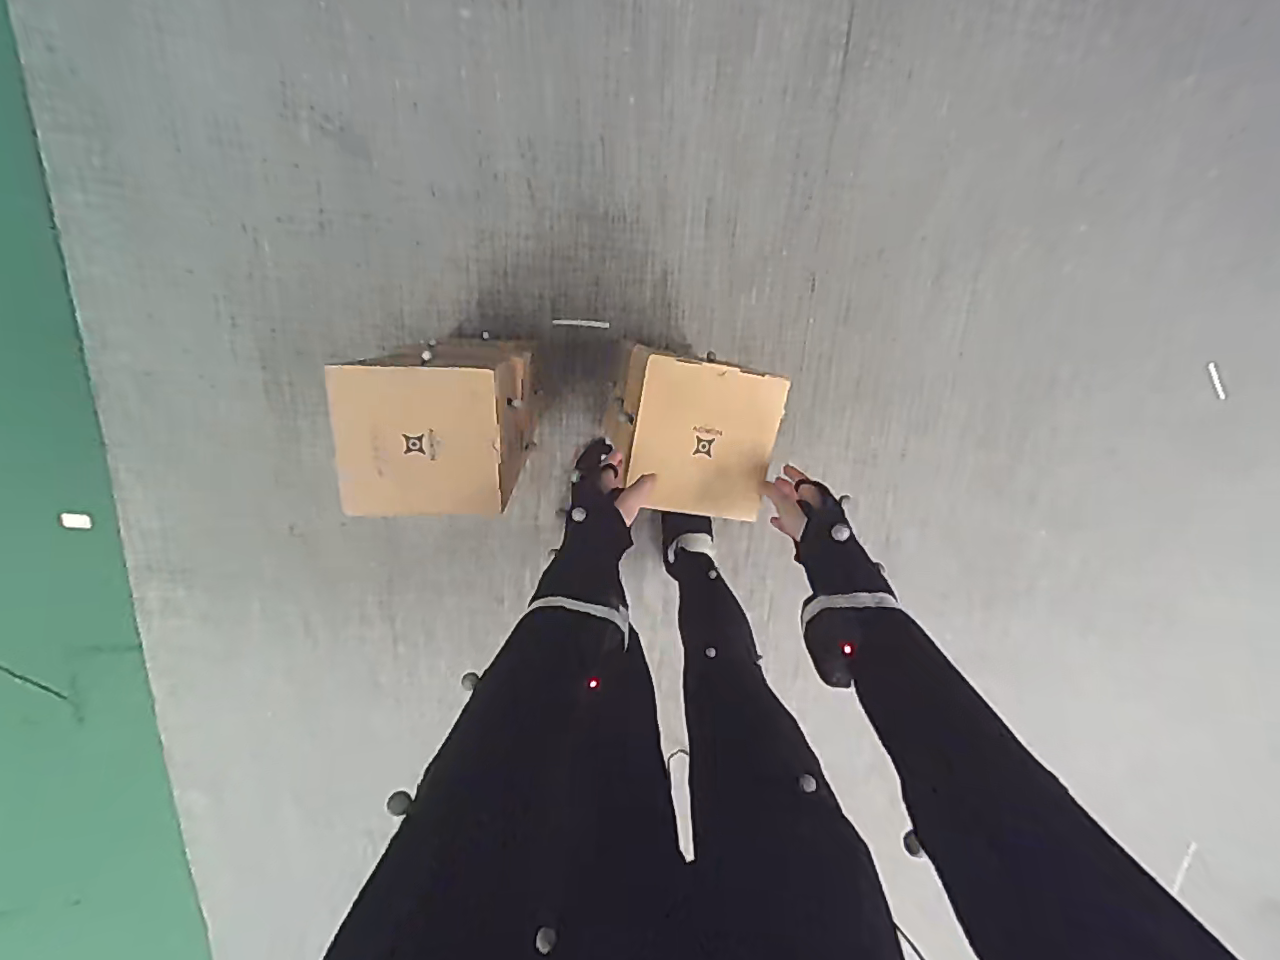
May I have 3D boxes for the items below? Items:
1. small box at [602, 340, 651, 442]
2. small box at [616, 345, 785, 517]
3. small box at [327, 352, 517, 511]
[{"bbox_3d":[0.025,-0.158,1.009,0.168,0.176,0.179,11,105,-8],"label":"small box"},{"bbox_3d":[0.063,-0.070,0.696,0.168,0.176,0.179,8,105,-8],"label":"small box"},{"bbox_3d":[-0.246,-0.067,0.660,0.179,0.176,0.168,1,106,-5],"label":"small box"}]
